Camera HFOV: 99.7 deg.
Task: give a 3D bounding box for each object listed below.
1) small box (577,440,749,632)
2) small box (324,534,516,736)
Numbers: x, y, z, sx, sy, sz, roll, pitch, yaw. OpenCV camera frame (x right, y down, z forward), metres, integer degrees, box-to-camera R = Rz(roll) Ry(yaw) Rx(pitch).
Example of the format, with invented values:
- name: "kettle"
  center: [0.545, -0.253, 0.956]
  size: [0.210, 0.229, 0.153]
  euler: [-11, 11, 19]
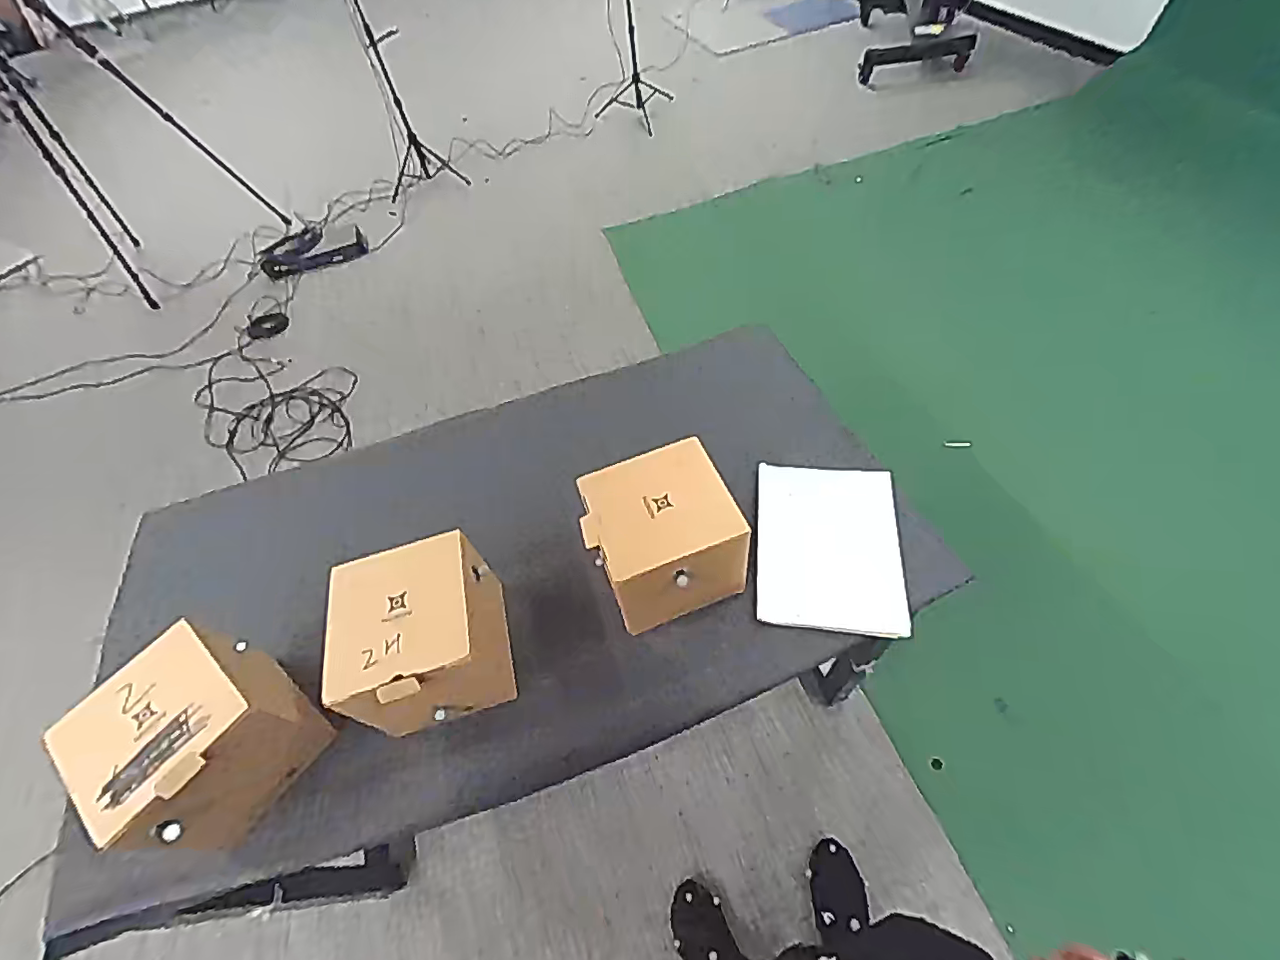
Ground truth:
- name: "small box"
  center: [0.032, 0.081, 0.740]
  size: [0.179, 0.176, 0.168]
  euler: [-21, 54, -5]
- name: "small box"
  center: [-0.272, 0.203, 0.697]
  size: [0.168, 0.176, 0.179]
  euler: [-18, 54, -3]
